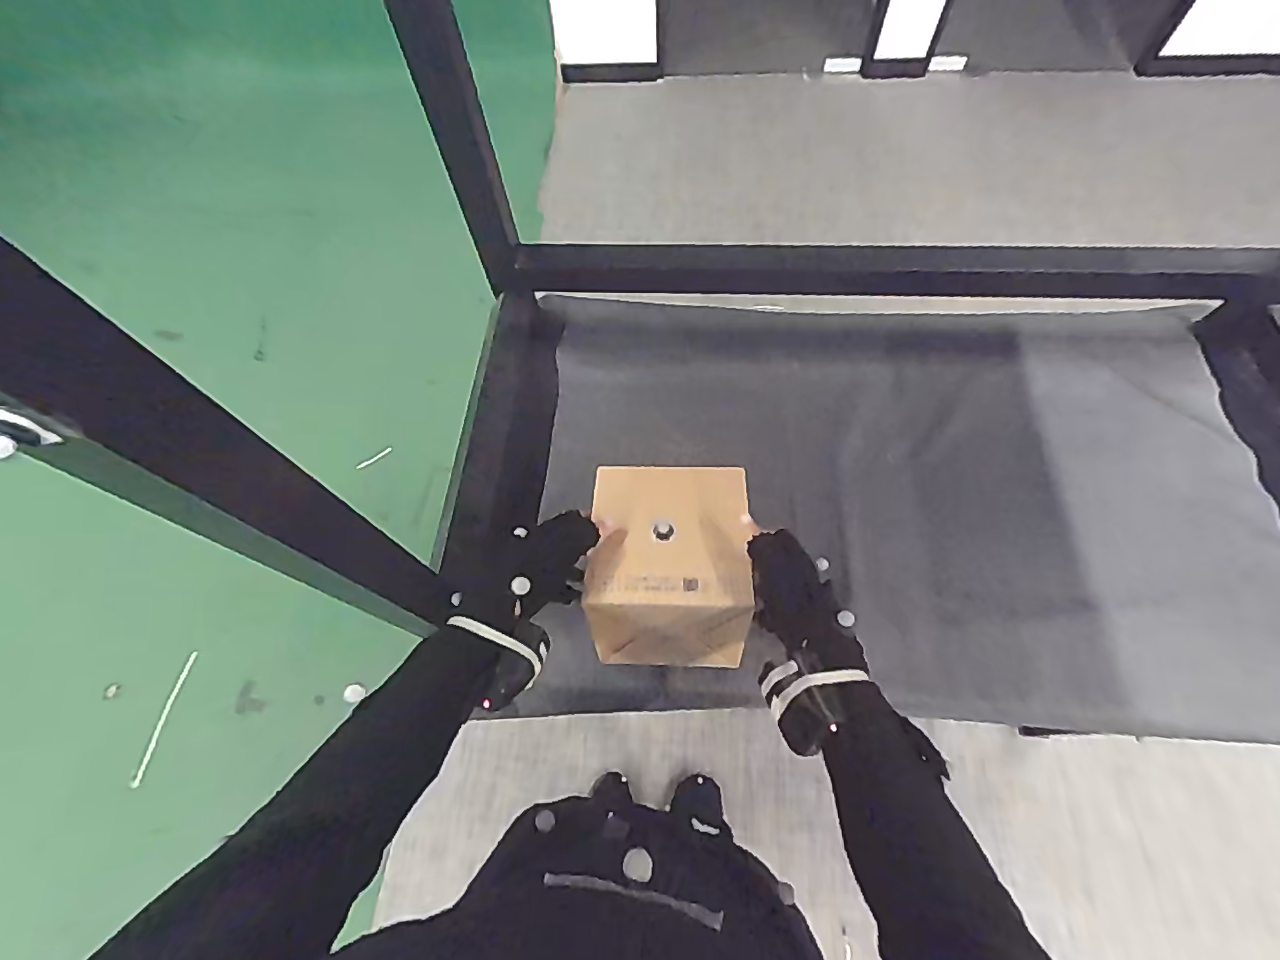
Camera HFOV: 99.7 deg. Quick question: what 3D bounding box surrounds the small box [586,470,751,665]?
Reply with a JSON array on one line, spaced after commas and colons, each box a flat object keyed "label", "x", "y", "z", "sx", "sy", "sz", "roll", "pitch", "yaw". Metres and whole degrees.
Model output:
[{"label": "small box", "x": 0.035, "y": 0.105, "z": 0.625, "sx": 0.168, "sy": 0.179, "sz": 0.176, "roll": 1, "pitch": 54, "yaw": 5}]
